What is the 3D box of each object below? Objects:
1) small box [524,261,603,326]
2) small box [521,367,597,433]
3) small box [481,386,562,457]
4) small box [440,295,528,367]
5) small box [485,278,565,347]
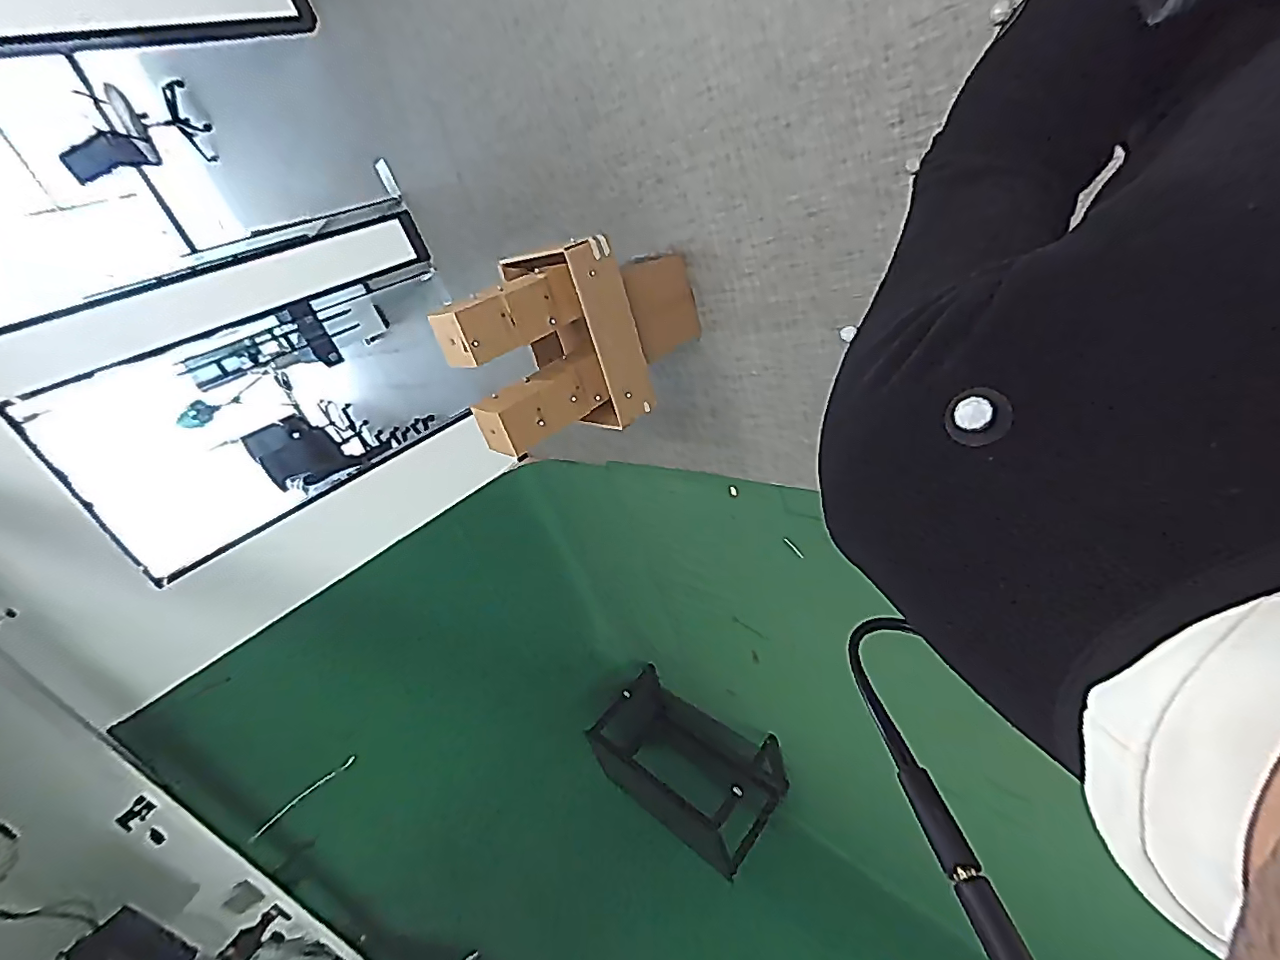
[{"bbox_3d":[-0.256,-0.629,1.831,0.179,0.176,0.168,14,131,44],"label":"small box"},{"bbox_3d":[-0.280,-0.285,1.886,0.179,0.176,0.168,17,134,43],"label":"small box"},{"bbox_3d":[-0.389,-0.201,1.799,0.179,0.176,0.168,16,134,44],"label":"small box"},{"bbox_3d":[-0.475,-0.457,1.656,0.179,0.176,0.168,13,131,46],"label":"small box"},{"bbox_3d":[-0.361,-0.541,1.740,0.179,0.176,0.168,16,133,43],"label":"small box"}]
